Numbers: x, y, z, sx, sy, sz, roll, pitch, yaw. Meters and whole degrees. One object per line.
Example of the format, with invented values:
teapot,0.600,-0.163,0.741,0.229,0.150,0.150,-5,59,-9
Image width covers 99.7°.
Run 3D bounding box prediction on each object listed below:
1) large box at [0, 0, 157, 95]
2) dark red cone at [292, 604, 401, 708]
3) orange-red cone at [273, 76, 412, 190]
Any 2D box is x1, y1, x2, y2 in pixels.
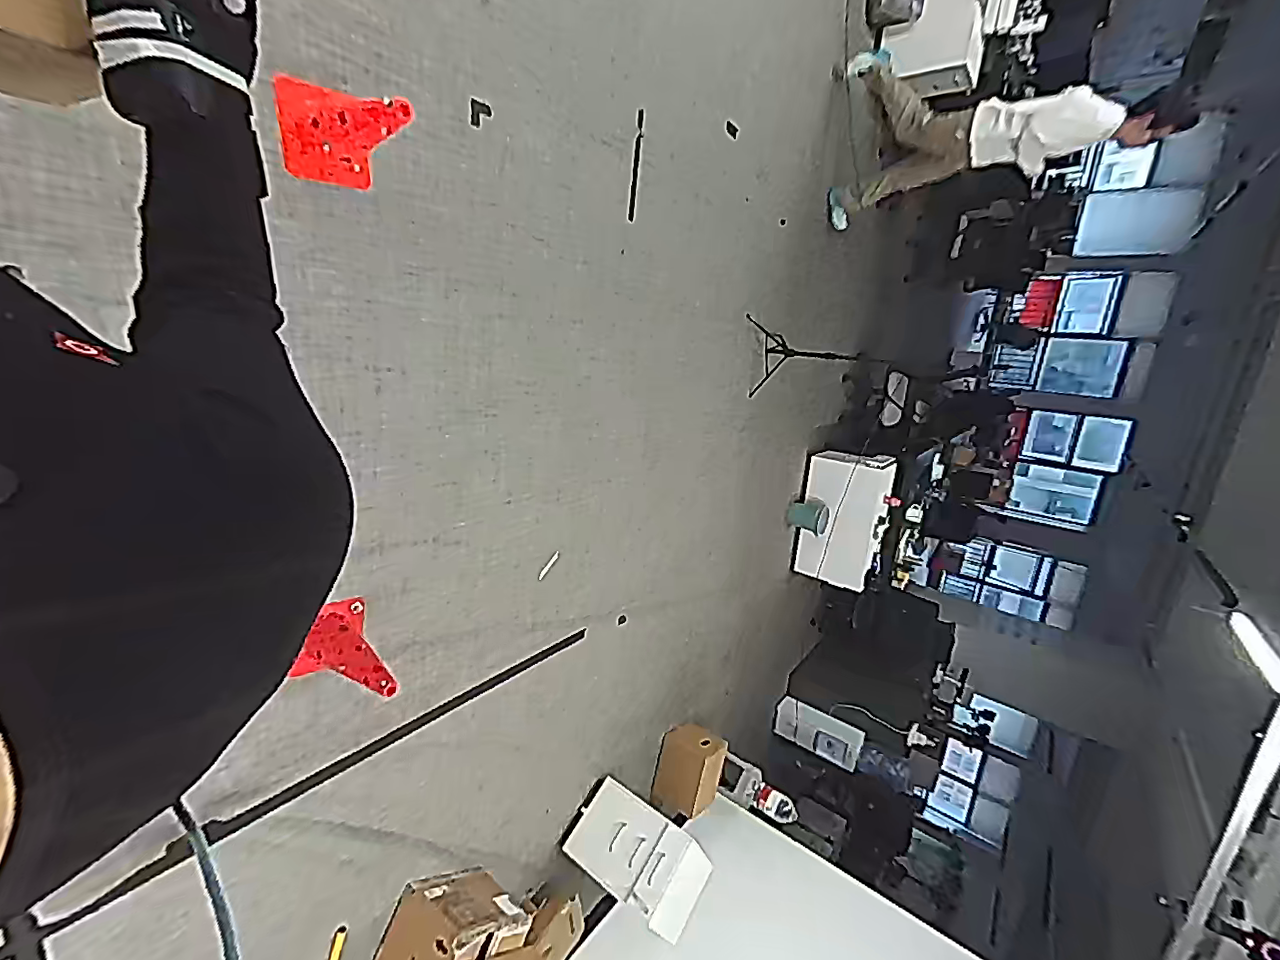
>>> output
large box,-0.559,-0.437,0.255,0.408,0.320,0.320,-19,123,-52
dark red cone,-0.747,0.492,1.431,0.201,0.394,0.202,-4,106,-52
orange-red cone,-0.613,-0.777,1.178,0.198,0.360,0.199,-18,115,-51
